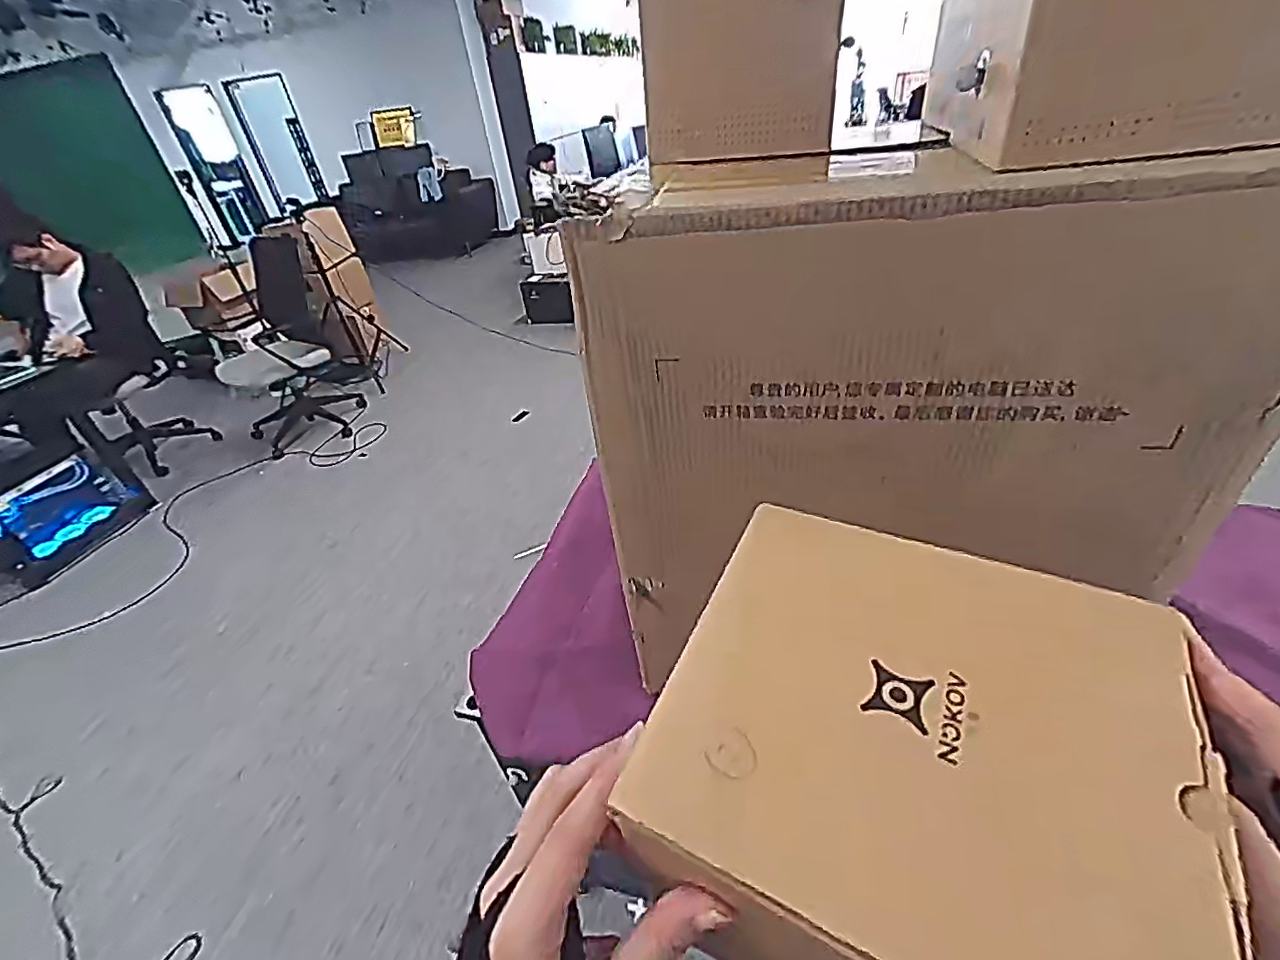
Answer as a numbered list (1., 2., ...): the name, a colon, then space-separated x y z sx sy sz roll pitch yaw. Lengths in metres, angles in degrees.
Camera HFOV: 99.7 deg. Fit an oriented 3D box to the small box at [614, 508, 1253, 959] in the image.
1. small box: 0.112 0.144 0.253 0.179 0.176 0.168 15 46 25
